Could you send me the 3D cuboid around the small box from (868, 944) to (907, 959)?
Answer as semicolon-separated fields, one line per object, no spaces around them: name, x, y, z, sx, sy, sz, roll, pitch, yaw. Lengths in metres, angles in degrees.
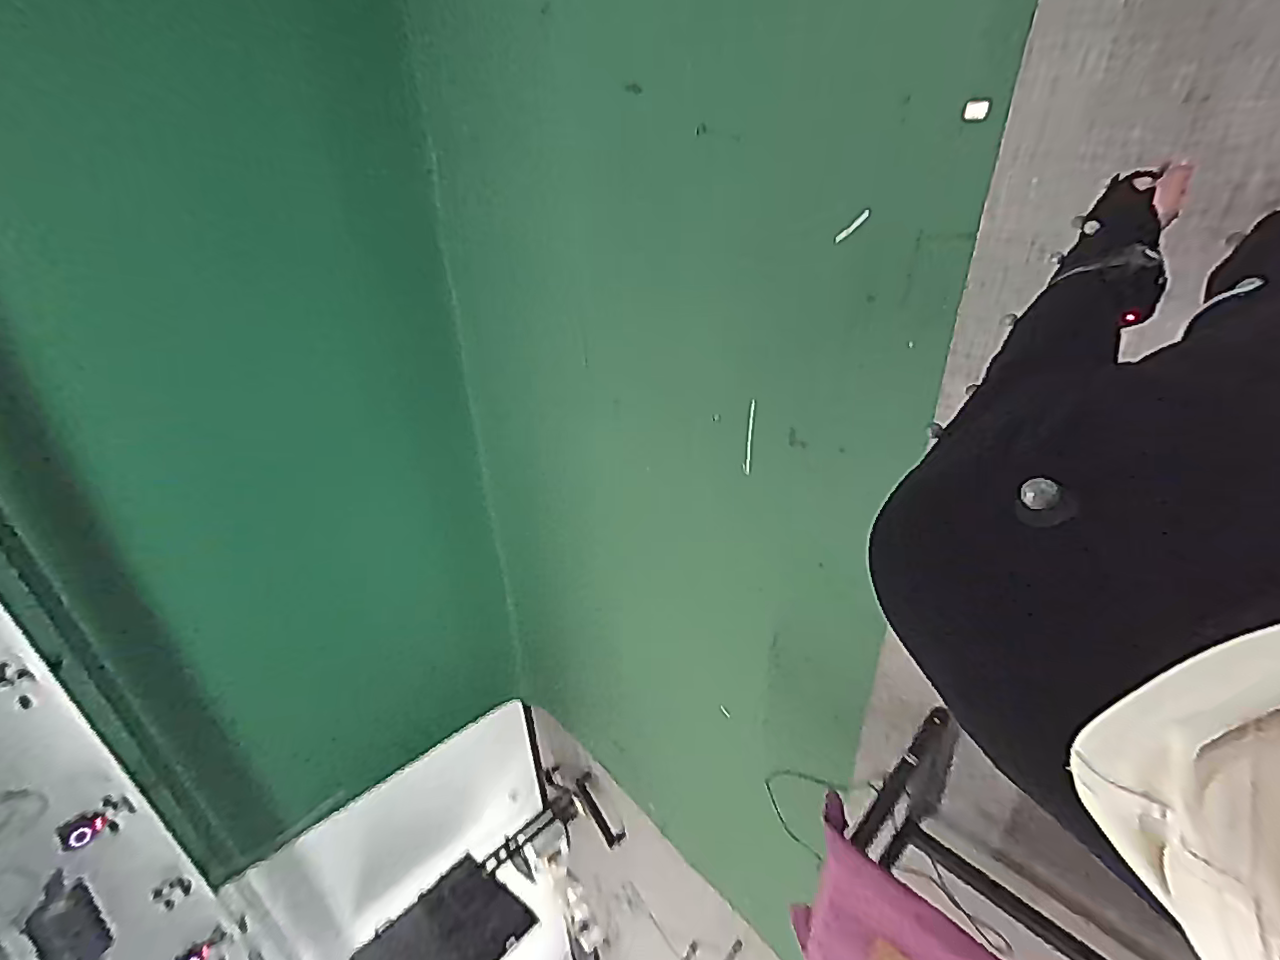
small box;0.641;1.332;1.364;0.179;0.176;0.168;24;127;41
